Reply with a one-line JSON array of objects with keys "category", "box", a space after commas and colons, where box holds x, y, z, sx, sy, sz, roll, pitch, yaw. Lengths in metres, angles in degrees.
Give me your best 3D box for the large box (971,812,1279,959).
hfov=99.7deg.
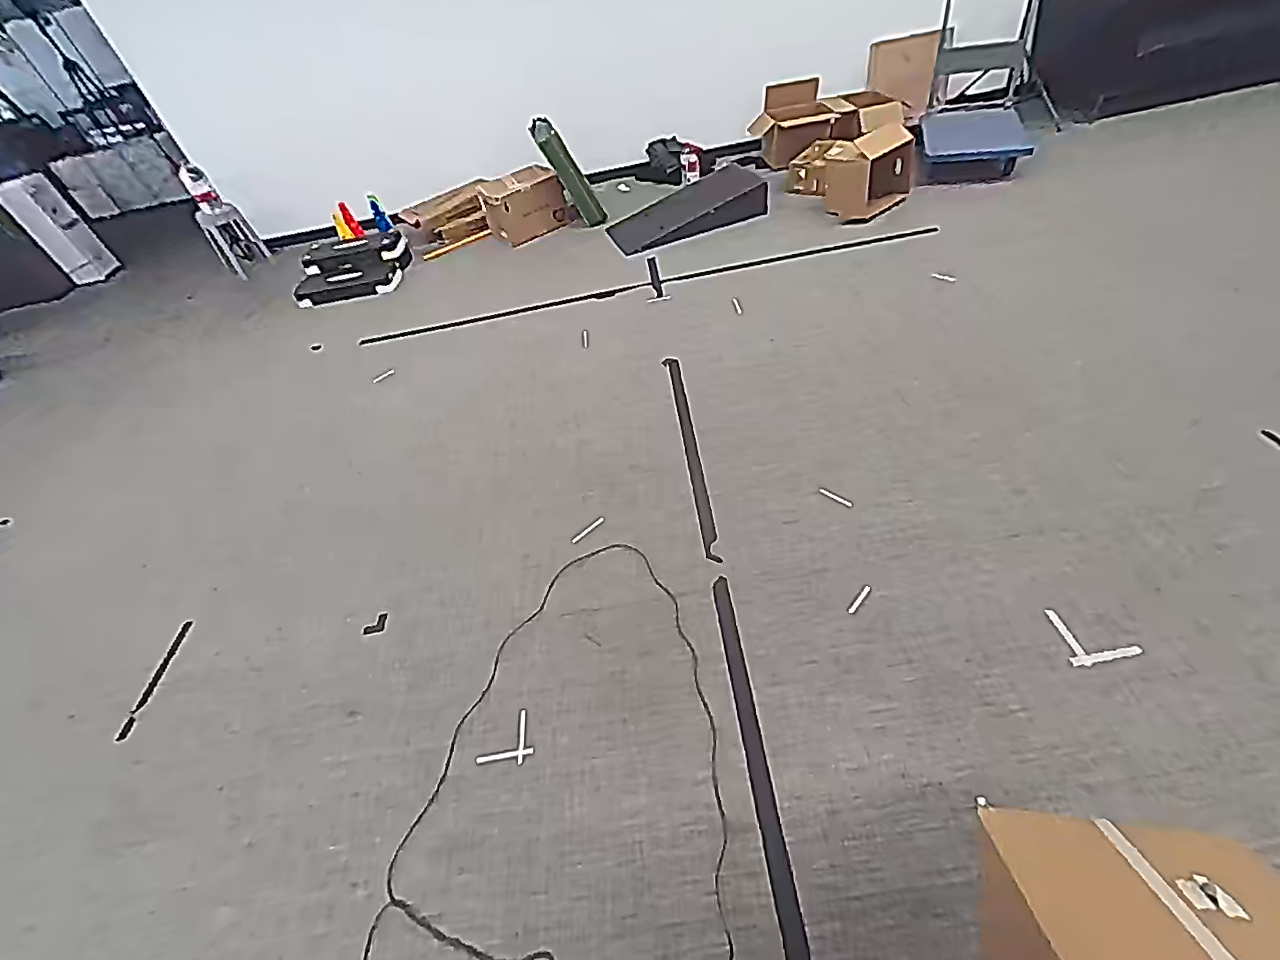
[{"category": "large box", "box": [0.608, 0.652, 0.591, 0.320, 0.408, 0.320, 0, 92, 13]}]
